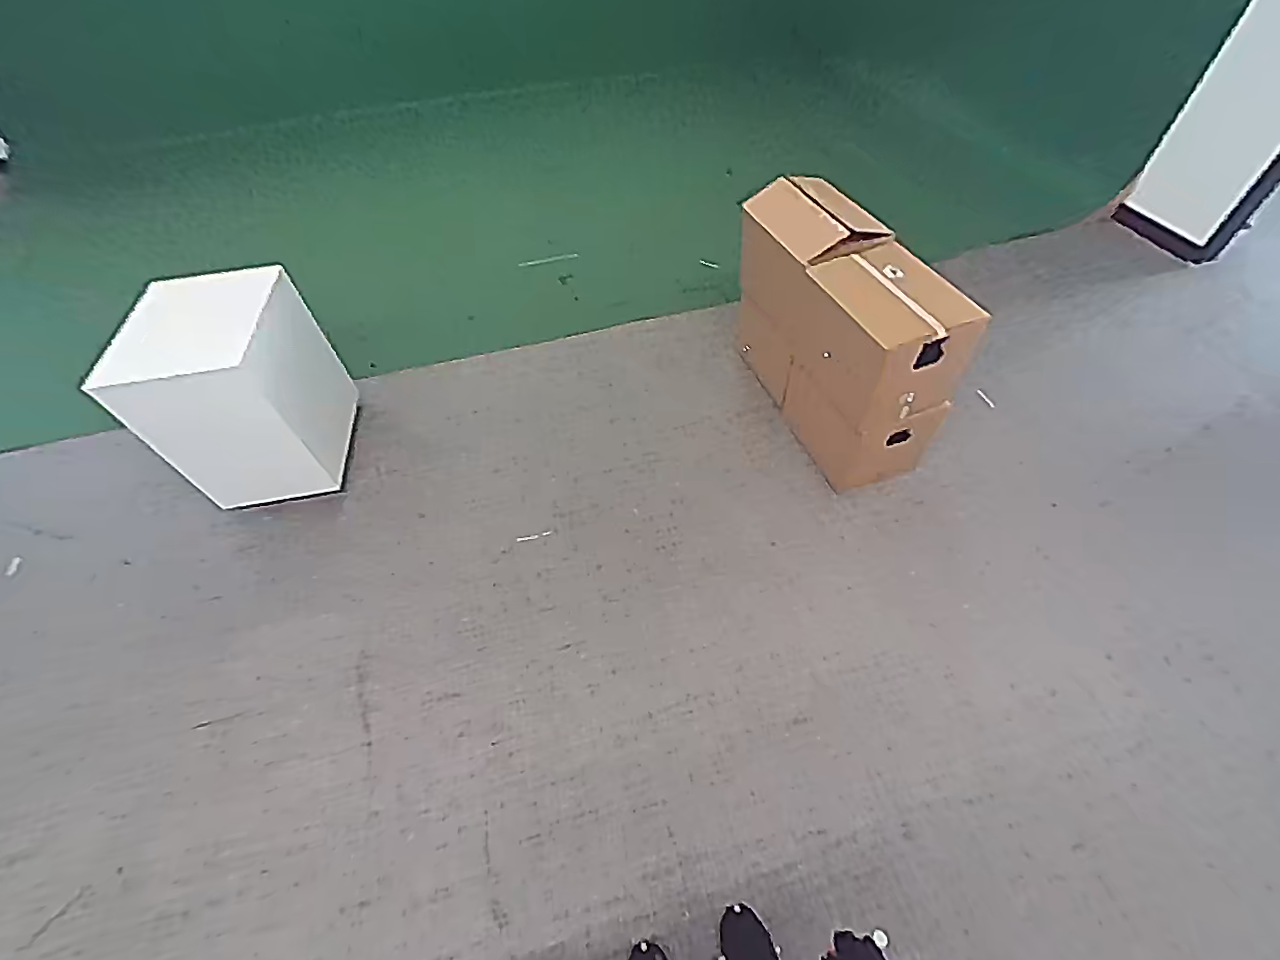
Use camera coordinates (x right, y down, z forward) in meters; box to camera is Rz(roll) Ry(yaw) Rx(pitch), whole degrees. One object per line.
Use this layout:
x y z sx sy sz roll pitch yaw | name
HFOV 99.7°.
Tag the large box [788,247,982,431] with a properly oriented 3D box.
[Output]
0.686 -0.416 1.595 0.320 0.320 0.408 -19 52 -9 | large box
